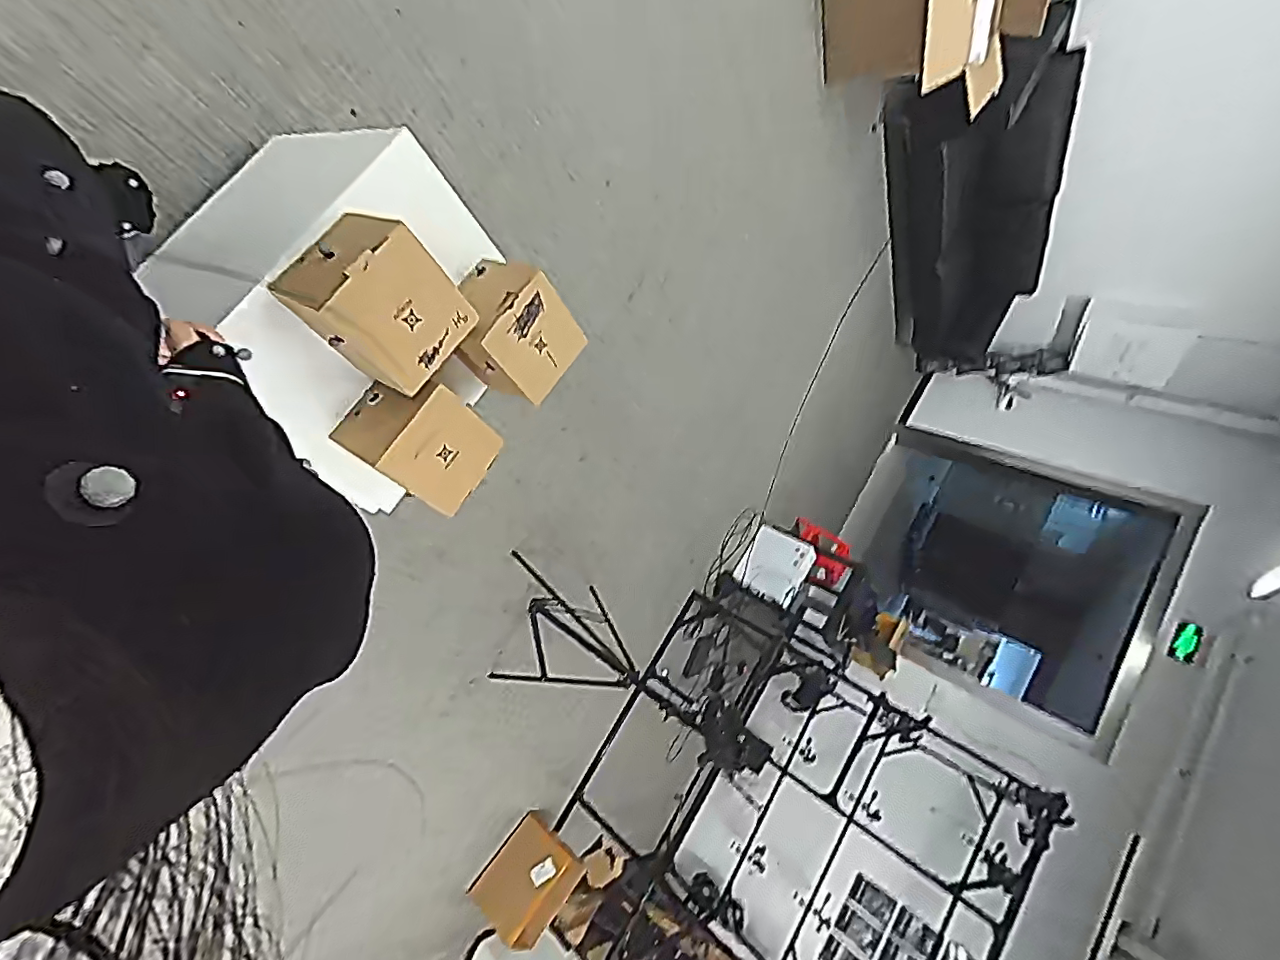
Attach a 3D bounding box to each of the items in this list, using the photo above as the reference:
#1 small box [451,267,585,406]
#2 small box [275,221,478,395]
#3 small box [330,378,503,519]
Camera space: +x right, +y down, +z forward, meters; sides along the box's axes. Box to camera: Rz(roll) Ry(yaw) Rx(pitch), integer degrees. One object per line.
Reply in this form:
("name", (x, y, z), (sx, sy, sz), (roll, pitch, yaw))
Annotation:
("small box", (-0.240, -0.265, 0.981), (0.168, 0.176, 0.179), (-55, 144, -14))
("small box", (-0.385, -0.256, 0.796), (0.168, 0.176, 0.179), (-55, 144, -15))
("small box", (-0.378, -0.065, 0.923), (0.168, 0.176, 0.179), (-58, 143, -14))
